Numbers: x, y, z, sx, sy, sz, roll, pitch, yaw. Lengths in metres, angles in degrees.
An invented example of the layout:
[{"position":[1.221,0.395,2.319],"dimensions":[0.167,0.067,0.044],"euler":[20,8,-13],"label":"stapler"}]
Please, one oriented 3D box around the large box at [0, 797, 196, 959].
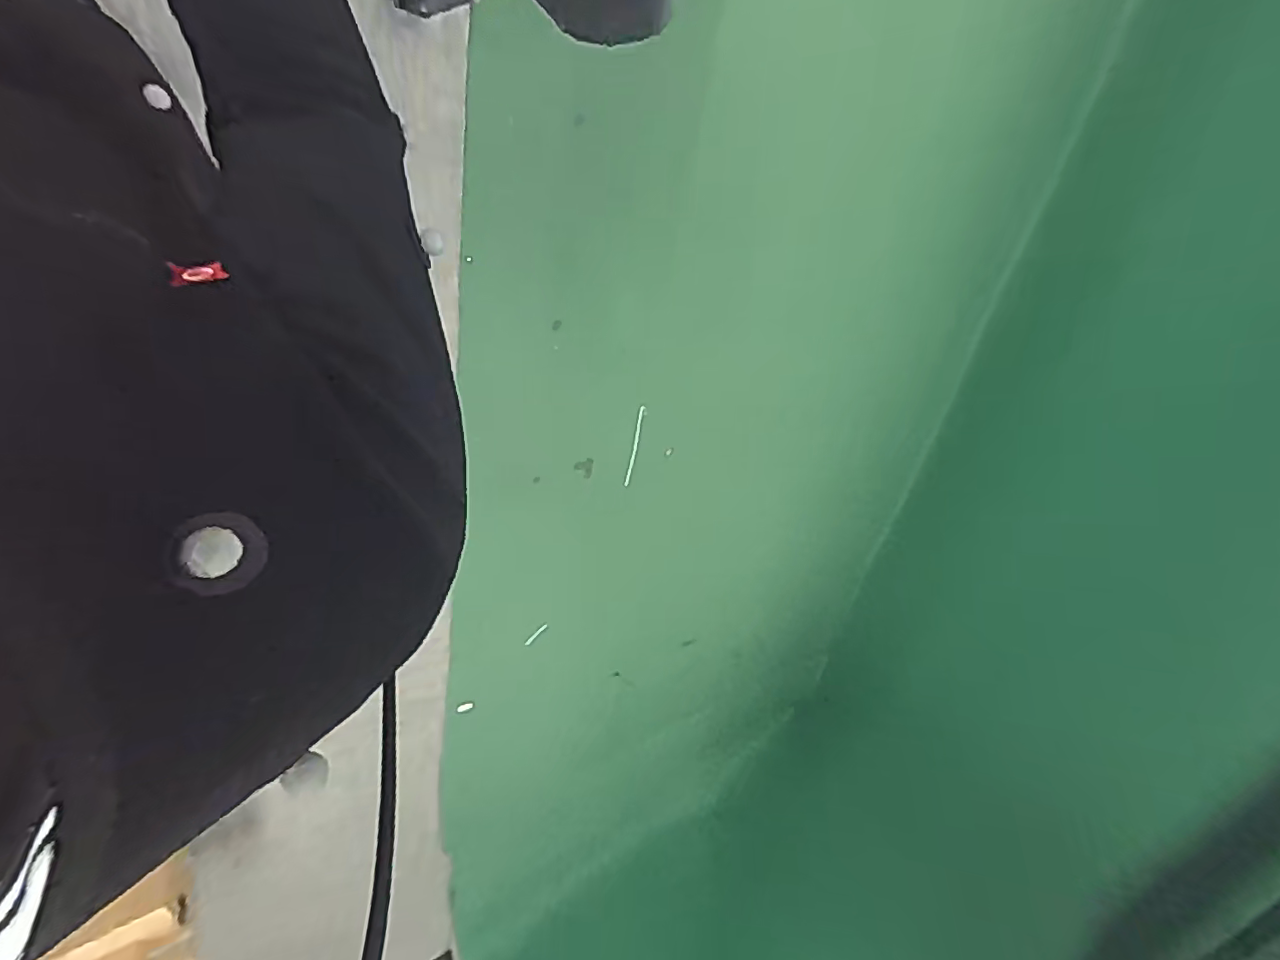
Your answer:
[{"position":[-1.390,1.091,1.334],"dimensions":[0.408,0.320,0.320],"euler":[-12,125,-34],"label":"large box"}]
